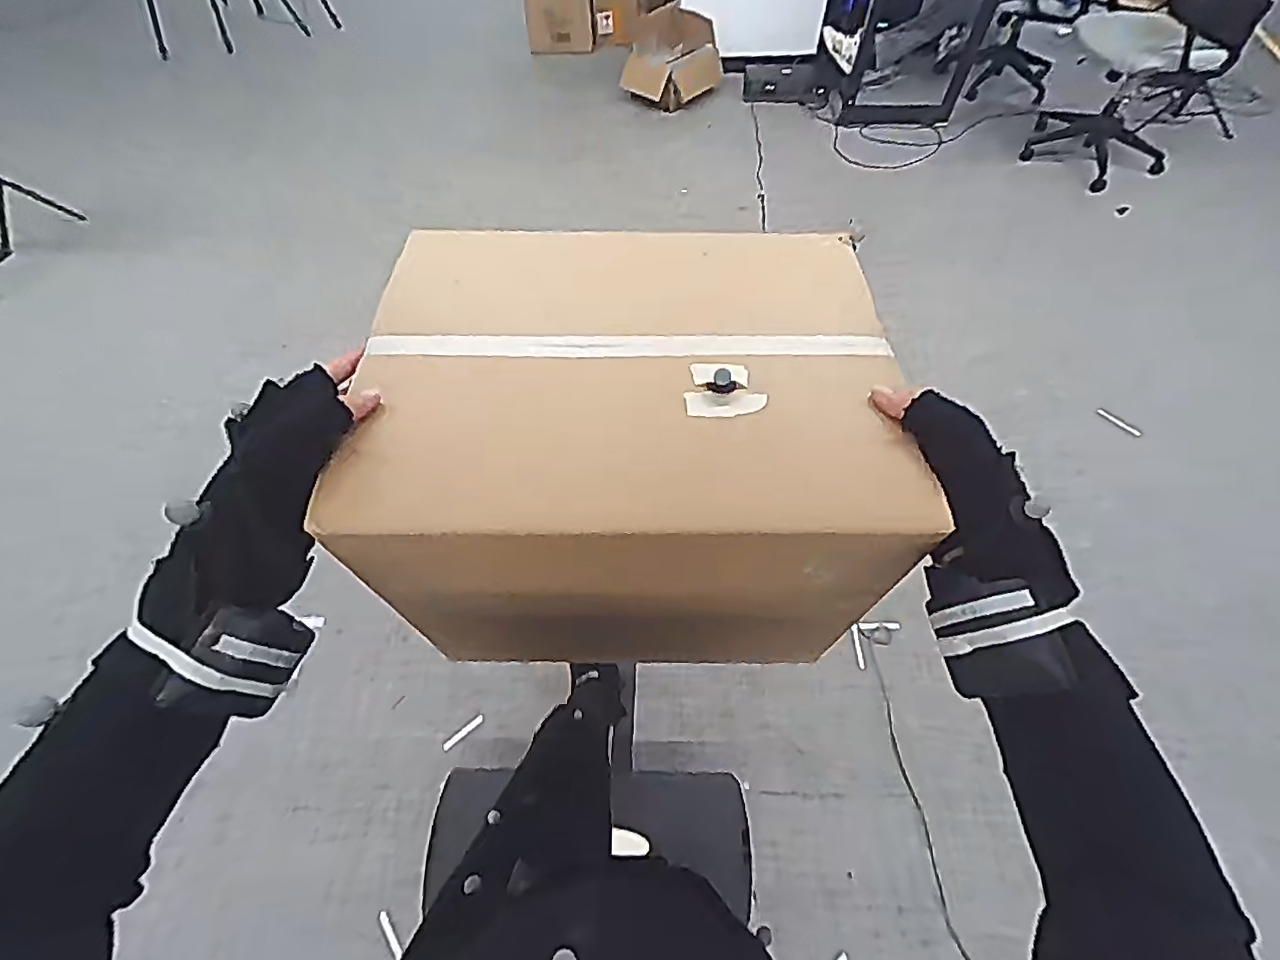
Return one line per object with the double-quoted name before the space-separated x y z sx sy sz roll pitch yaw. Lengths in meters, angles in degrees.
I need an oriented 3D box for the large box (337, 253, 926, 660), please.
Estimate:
"large box" -0.009 -0.011 0.565 0.408 0.320 0.320 1 56 -1
